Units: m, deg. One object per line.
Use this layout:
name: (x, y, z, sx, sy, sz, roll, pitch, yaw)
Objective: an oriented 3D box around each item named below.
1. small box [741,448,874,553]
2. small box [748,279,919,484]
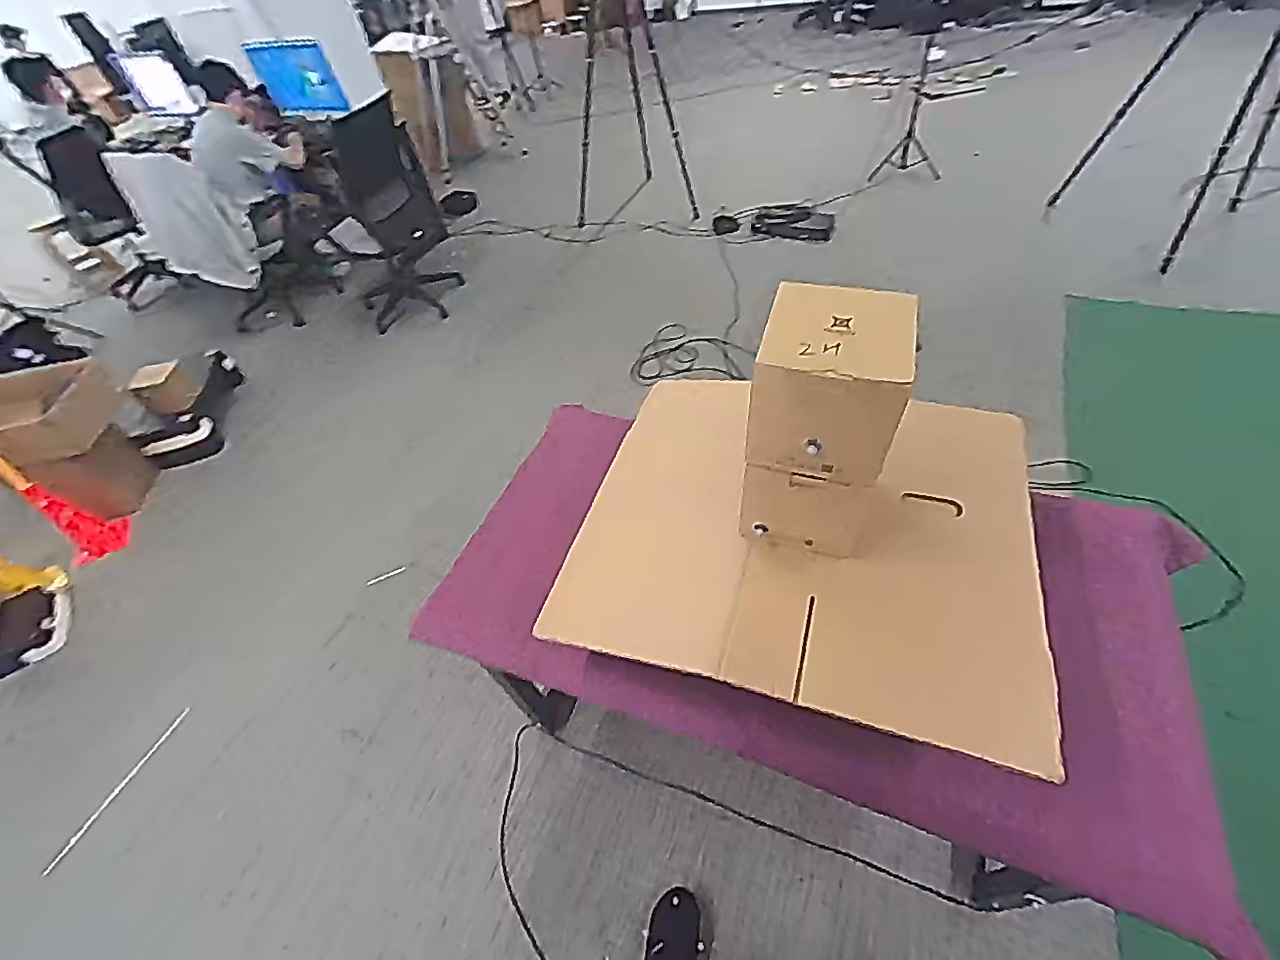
small box: (0.250, -0.016, 0.804, 0.168, 0.176, 0.179, 12, 52, 15)
small box: (0.236, -0.124, 0.680, 0.168, 0.176, 0.179, 12, 53, 16)
